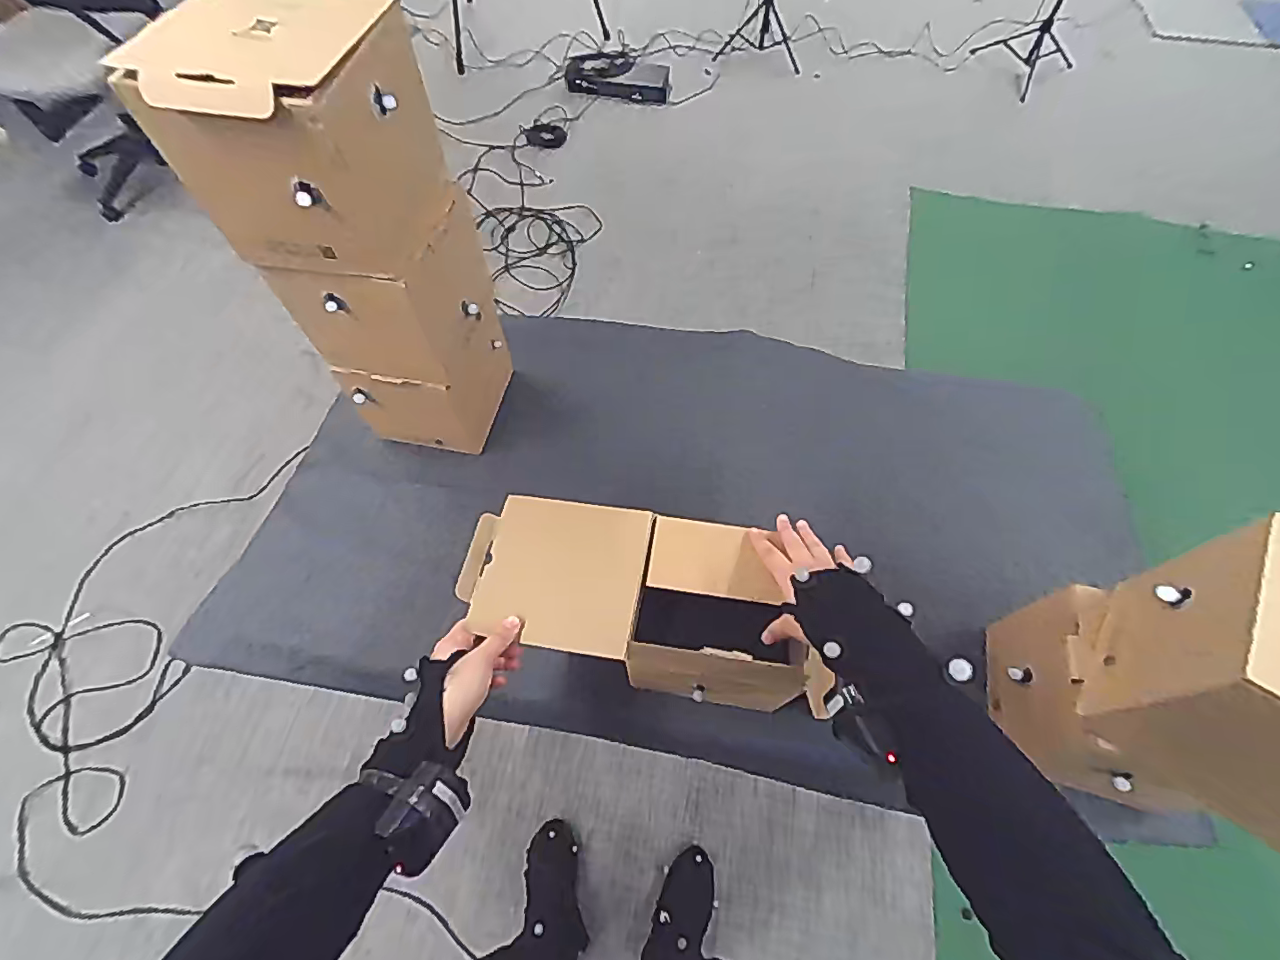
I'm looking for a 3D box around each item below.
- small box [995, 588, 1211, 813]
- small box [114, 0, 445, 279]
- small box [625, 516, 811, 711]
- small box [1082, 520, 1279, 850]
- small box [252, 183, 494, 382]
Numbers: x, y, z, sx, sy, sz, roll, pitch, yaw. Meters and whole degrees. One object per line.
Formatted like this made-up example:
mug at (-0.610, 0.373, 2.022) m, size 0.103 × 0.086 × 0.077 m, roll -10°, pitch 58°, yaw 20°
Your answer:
small box at (0.510, 0.242, 0.578) m, size 0.179 × 0.176 × 0.168 m, roll 15°, pitch 59°, yaw 9°
small box at (-0.305, -0.317, 0.510) m, size 0.168 × 0.176 × 0.179 m, roll 8°, pitch 61°, yaw 2°
small box at (0.088, 0.161, 0.625) m, size 0.179 × 0.176 × 0.168 m, roll 8°, pitch 61°, yaw 7°
small box at (0.512, 0.171, 0.430) m, size 0.179 × 0.176 × 0.168 m, roll 35°, pitch 64°, yaw 18°
small box at (-0.299, -0.239, 0.652) m, size 0.179 × 0.176 × 0.168 m, roll 11°, pitch 63°, yaw 5°
